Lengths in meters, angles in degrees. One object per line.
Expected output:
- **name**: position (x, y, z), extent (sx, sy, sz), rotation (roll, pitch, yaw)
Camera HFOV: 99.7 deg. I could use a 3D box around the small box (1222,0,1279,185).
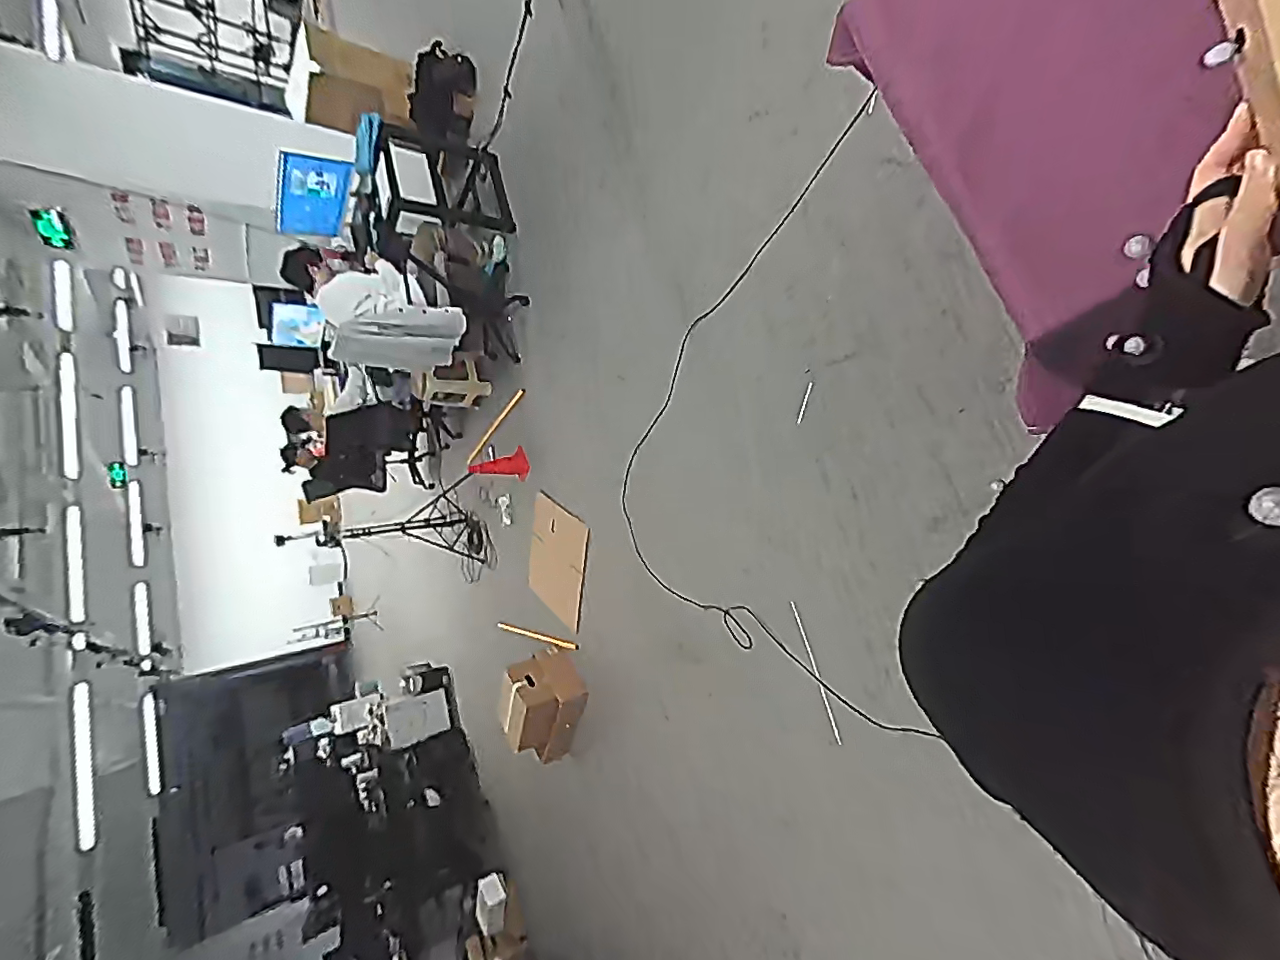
- **small box**: position (0.390, -0.255, 0.237), extent (0.179, 0.176, 0.168), rotation (-14, 97, 48)
